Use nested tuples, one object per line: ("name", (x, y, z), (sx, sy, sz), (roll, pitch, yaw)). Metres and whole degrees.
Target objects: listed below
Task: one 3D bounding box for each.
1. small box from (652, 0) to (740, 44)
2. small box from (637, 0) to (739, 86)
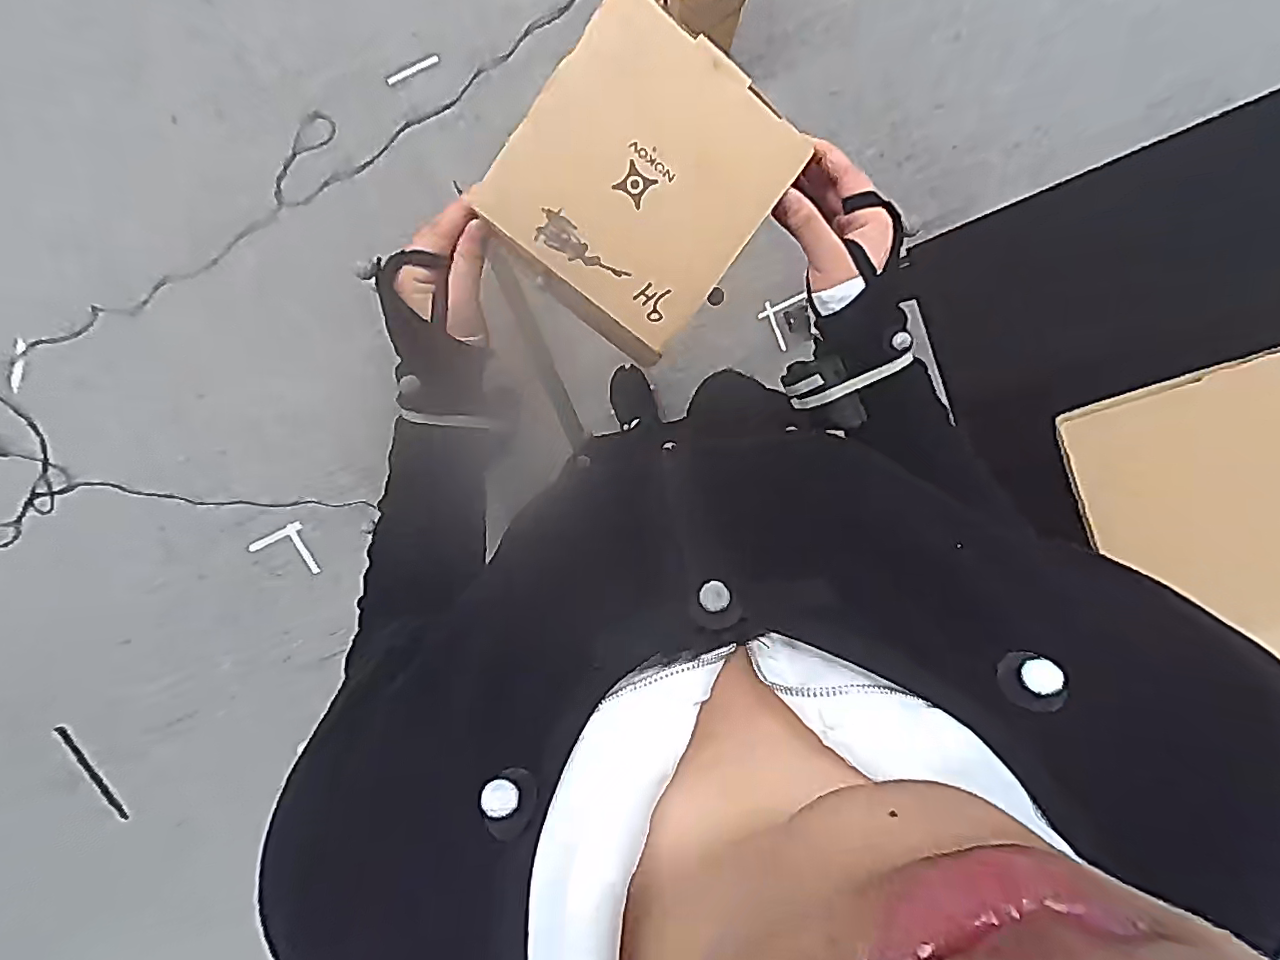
("small box", (0.105, -1.016, 1.056), (0.179, 0.176, 0.168), (-29, 100, 5))
("small box", (0.099, -1.045, 1.216), (0.179, 0.176, 0.168), (-27, 100, 6))
